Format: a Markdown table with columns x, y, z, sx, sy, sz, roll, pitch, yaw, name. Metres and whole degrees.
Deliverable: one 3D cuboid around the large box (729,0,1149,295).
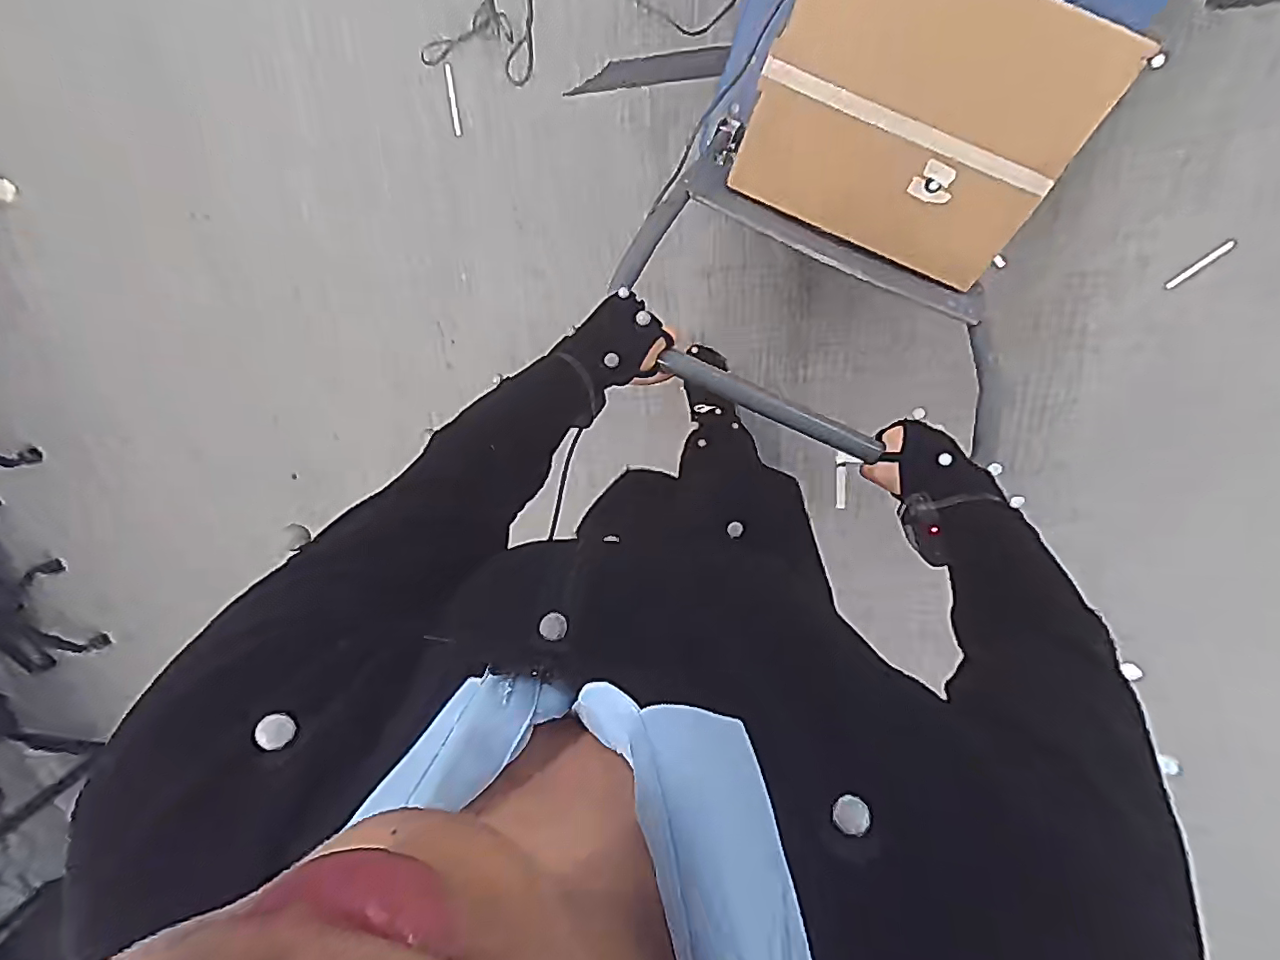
| x | y | z | sx | sy | sz | roll | pitch | yaw | name |
| --- | --- | --- | --- | --- | --- | --- | --- | --- | --- |
| 0.396 | -0.553 | 0.826 | 0.408 | 0.320 | 0.320 | 24 | 135 | 0 | large box |
